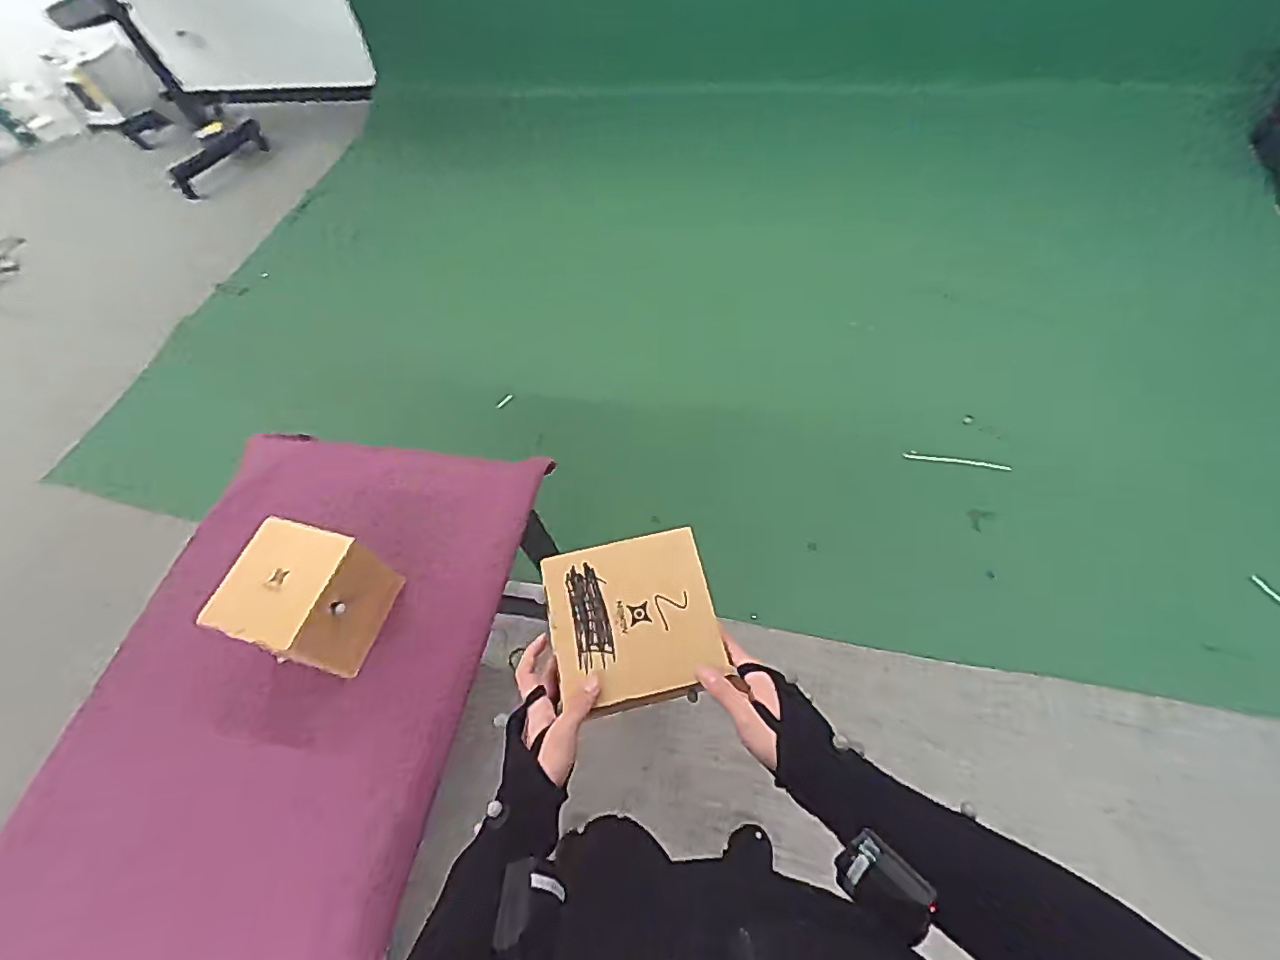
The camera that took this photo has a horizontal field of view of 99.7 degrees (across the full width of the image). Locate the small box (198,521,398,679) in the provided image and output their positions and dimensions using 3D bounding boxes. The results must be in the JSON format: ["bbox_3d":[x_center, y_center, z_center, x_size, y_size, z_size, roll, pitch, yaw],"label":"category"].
[{"bbox_3d":[-0.513,0.191,0.847,0.168,0.176,0.179,12,62,13],"label":"small box"}]
